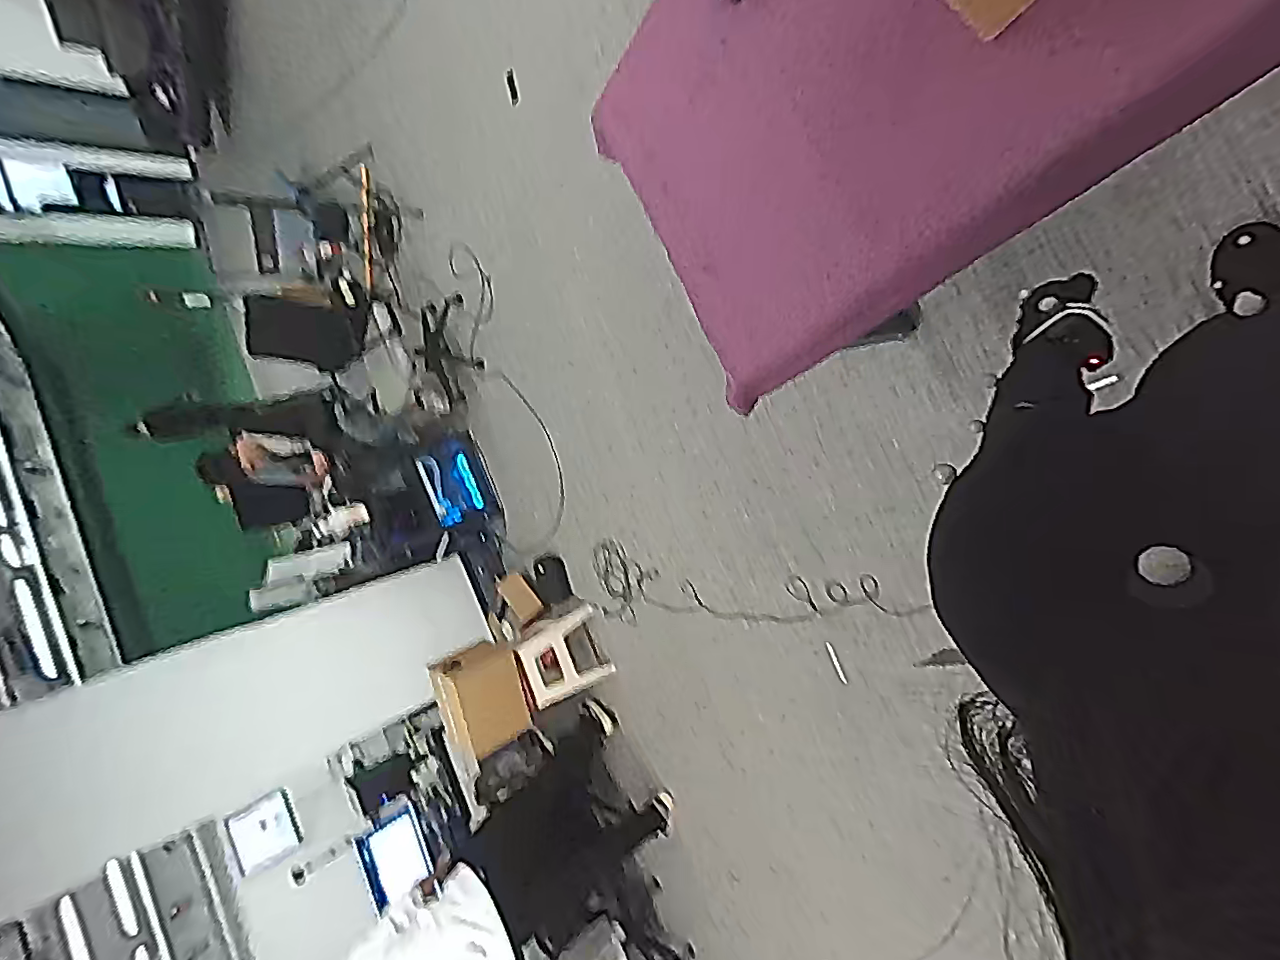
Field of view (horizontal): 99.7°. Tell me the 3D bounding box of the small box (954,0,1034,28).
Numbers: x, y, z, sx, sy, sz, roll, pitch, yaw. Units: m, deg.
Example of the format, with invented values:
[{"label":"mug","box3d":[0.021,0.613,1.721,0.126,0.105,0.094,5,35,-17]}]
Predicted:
[{"label":"small box","box3d":[0.346,-0.580,0.504,0.168,0.176,0.179,-33,79,49]}]
